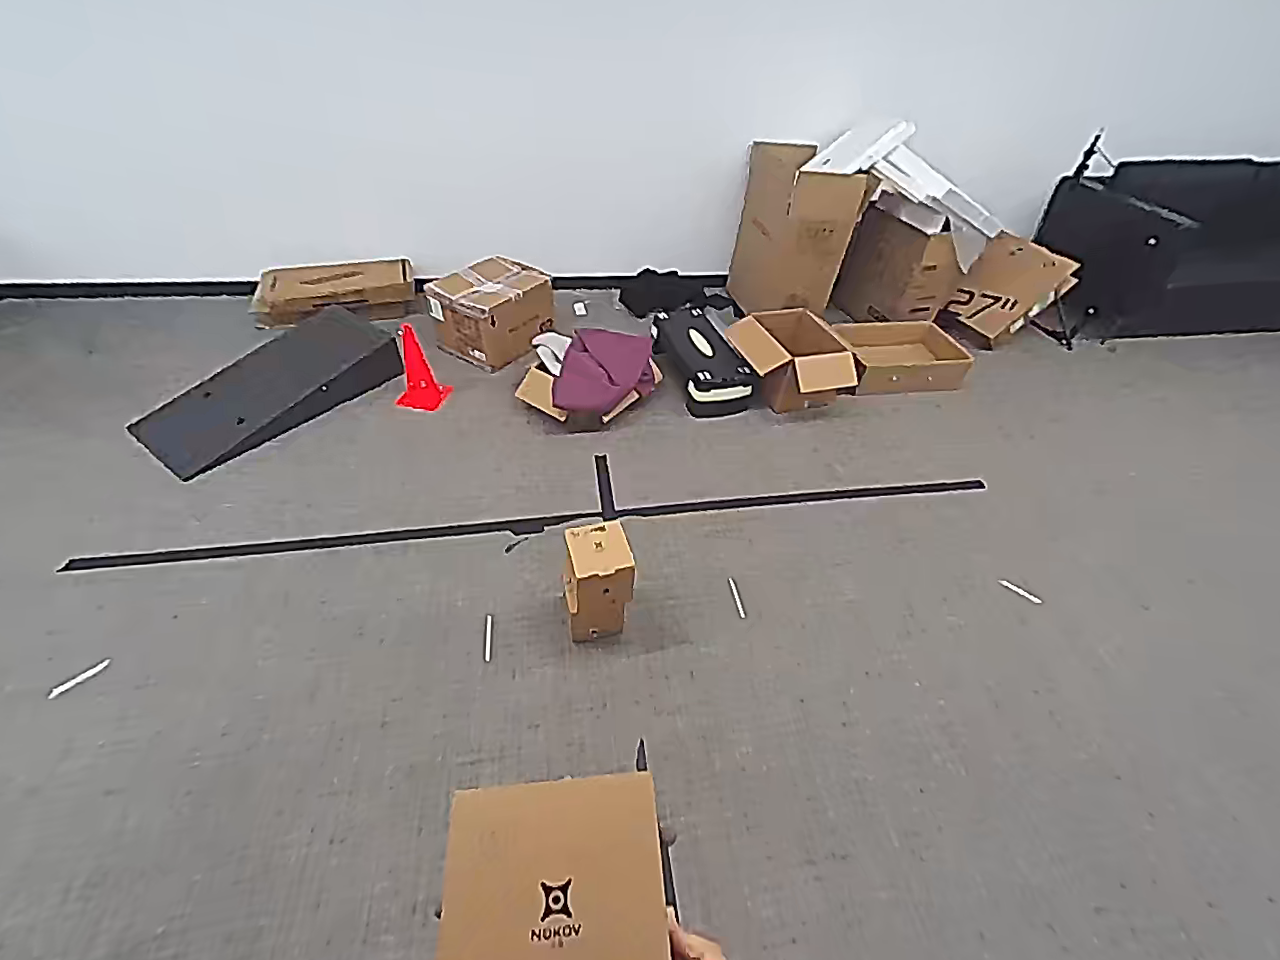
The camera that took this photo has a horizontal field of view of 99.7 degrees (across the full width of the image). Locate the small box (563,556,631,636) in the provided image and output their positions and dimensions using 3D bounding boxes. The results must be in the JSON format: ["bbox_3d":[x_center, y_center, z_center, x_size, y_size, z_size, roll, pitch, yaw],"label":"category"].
[{"bbox_3d":[-0.131,0.328,1.583,0.168,0.176,0.179,-10,47,-14],"label":"small box"}]

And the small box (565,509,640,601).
[{"bbox_3d":[-0.103,0.209,1.472,0.168,0.176,0.179,-10,46,-14],"label":"small box"}]

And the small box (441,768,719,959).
[{"bbox_3d":[-0.040,0.323,0.386,0.168,0.176,0.179,-3,55,-5],"label":"small box"}]
